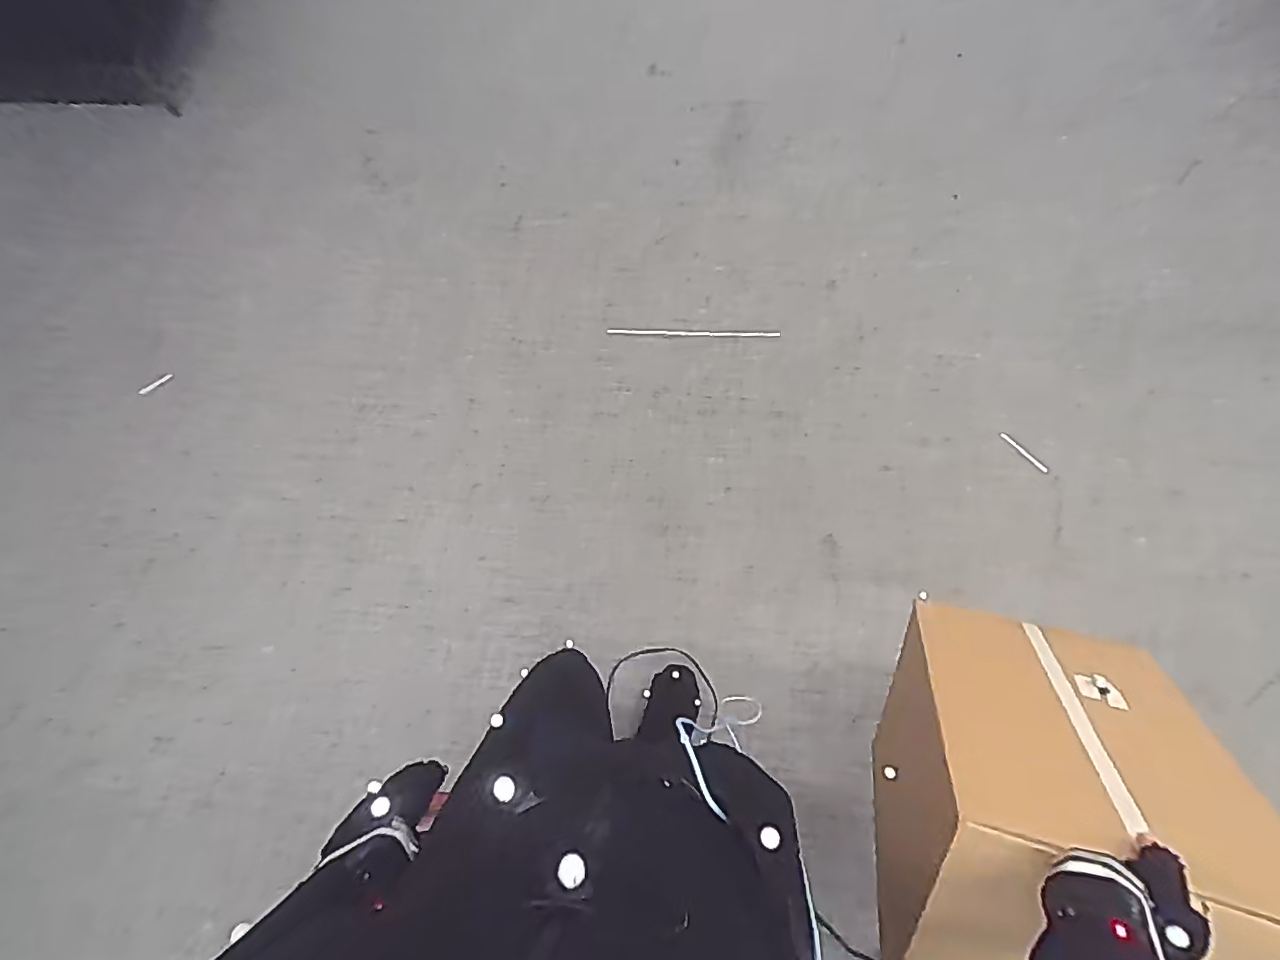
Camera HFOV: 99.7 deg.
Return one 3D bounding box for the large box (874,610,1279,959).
[{"bbox_3d":[0.505,0.436,0.699,0.320,0.408,0.320,12,112,17],"label":"large box"}]
